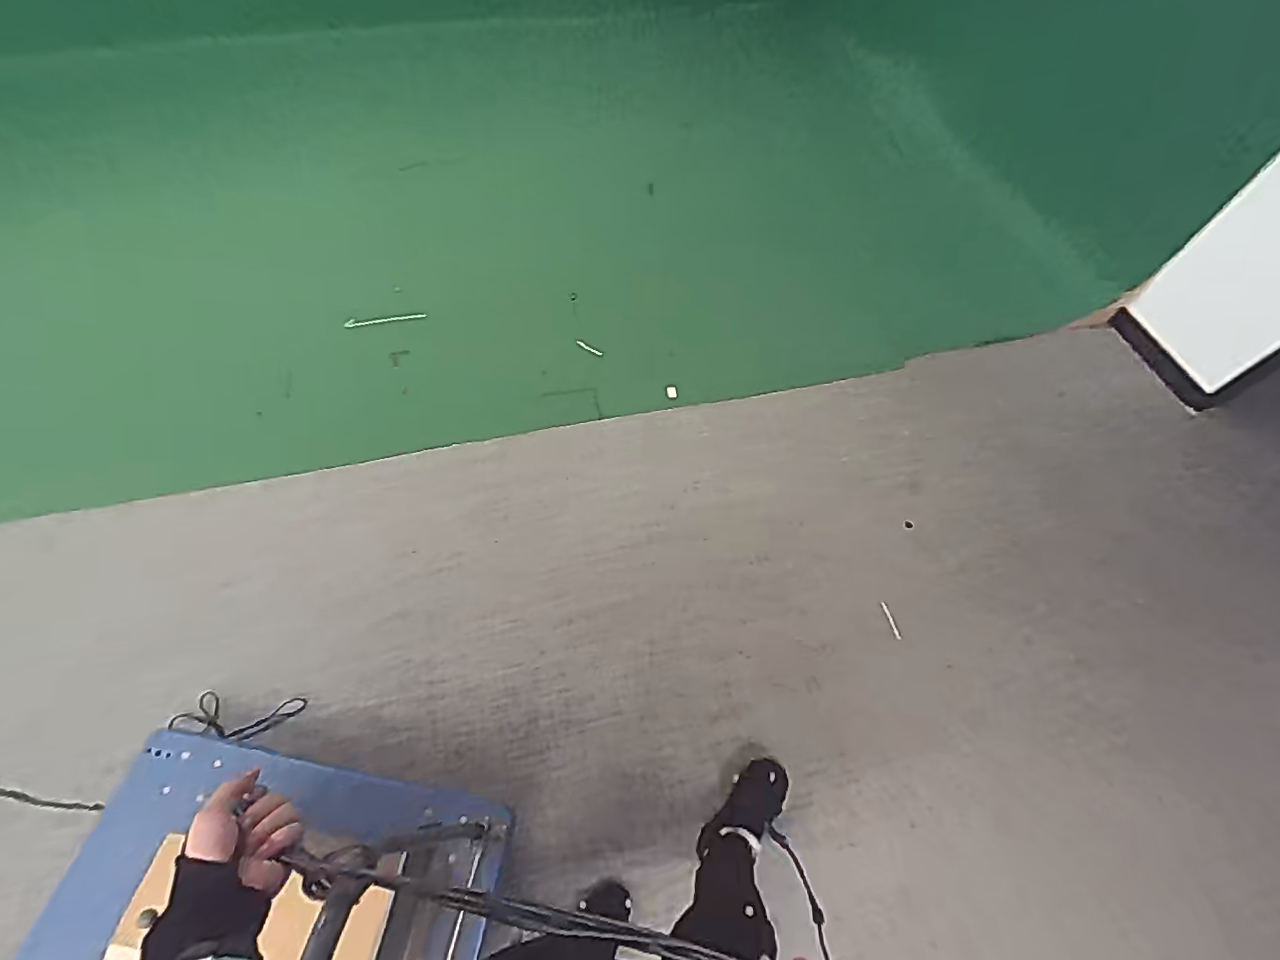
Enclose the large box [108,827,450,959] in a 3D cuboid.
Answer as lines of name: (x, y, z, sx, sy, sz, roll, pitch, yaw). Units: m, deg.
large box: (-0.608, 0.825, 0.935, 0.408, 0.320, 0.320, 9, 60, 5)
